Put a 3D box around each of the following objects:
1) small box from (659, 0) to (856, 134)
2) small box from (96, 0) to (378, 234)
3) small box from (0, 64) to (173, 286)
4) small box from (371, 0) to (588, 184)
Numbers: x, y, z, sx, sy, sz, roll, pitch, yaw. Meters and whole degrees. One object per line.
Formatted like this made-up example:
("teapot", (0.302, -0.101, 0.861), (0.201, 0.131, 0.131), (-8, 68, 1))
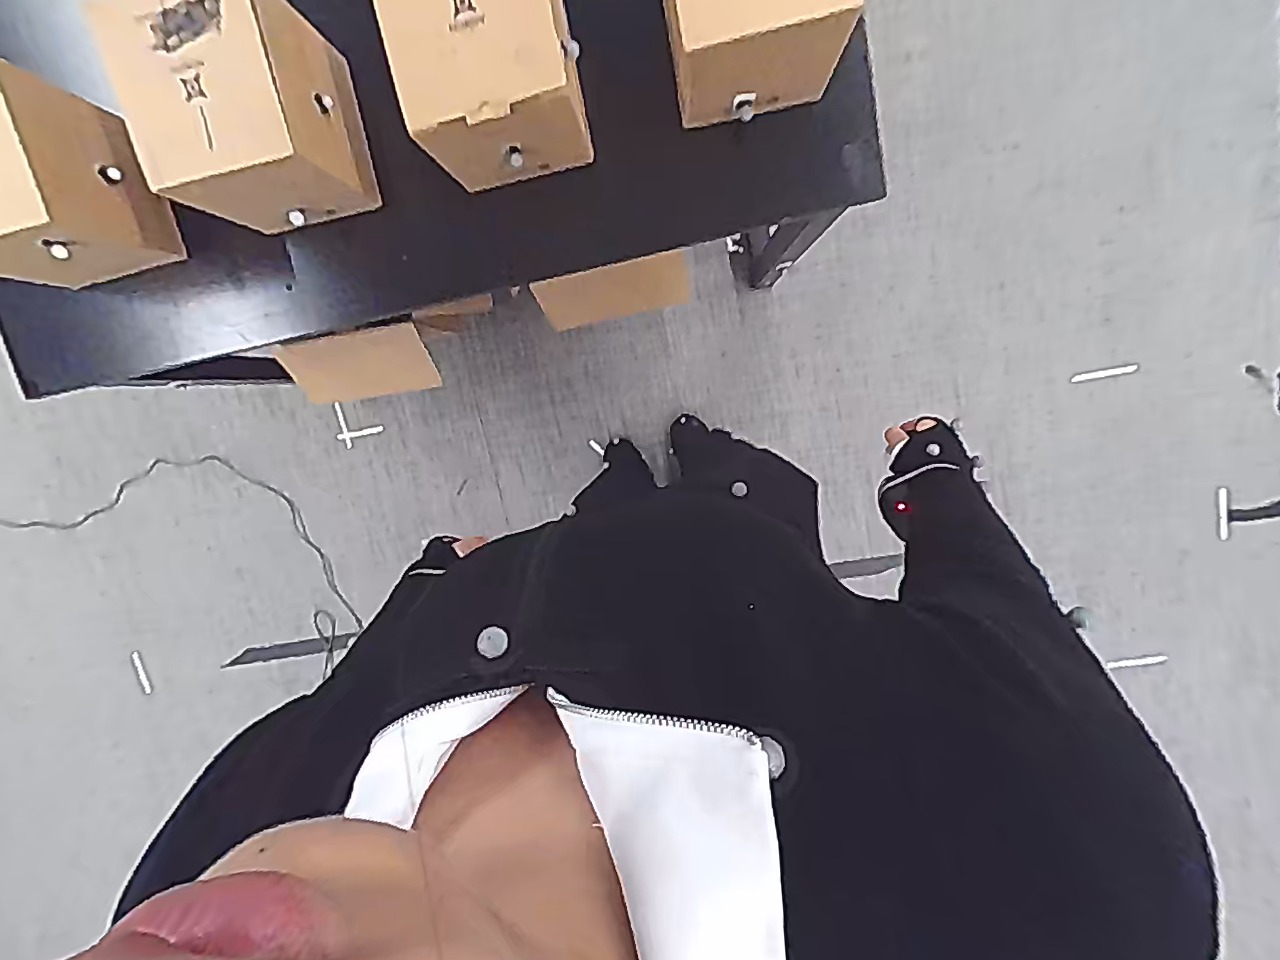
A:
("small box", (0.108, -0.506, 0.564), (0.168, 0.176, 0.179), (-10, 99, 7))
("small box", (-0.434, -0.406, 0.614), (0.168, 0.176, 0.179), (-10, 100, 5))
("small box", (-0.710, -0.343, 0.640), (0.179, 0.176, 0.168), (-12, 98, 5))
("small box", (-0.162, -0.448, 0.591), (0.168, 0.176, 0.179), (-11, 99, 6))
